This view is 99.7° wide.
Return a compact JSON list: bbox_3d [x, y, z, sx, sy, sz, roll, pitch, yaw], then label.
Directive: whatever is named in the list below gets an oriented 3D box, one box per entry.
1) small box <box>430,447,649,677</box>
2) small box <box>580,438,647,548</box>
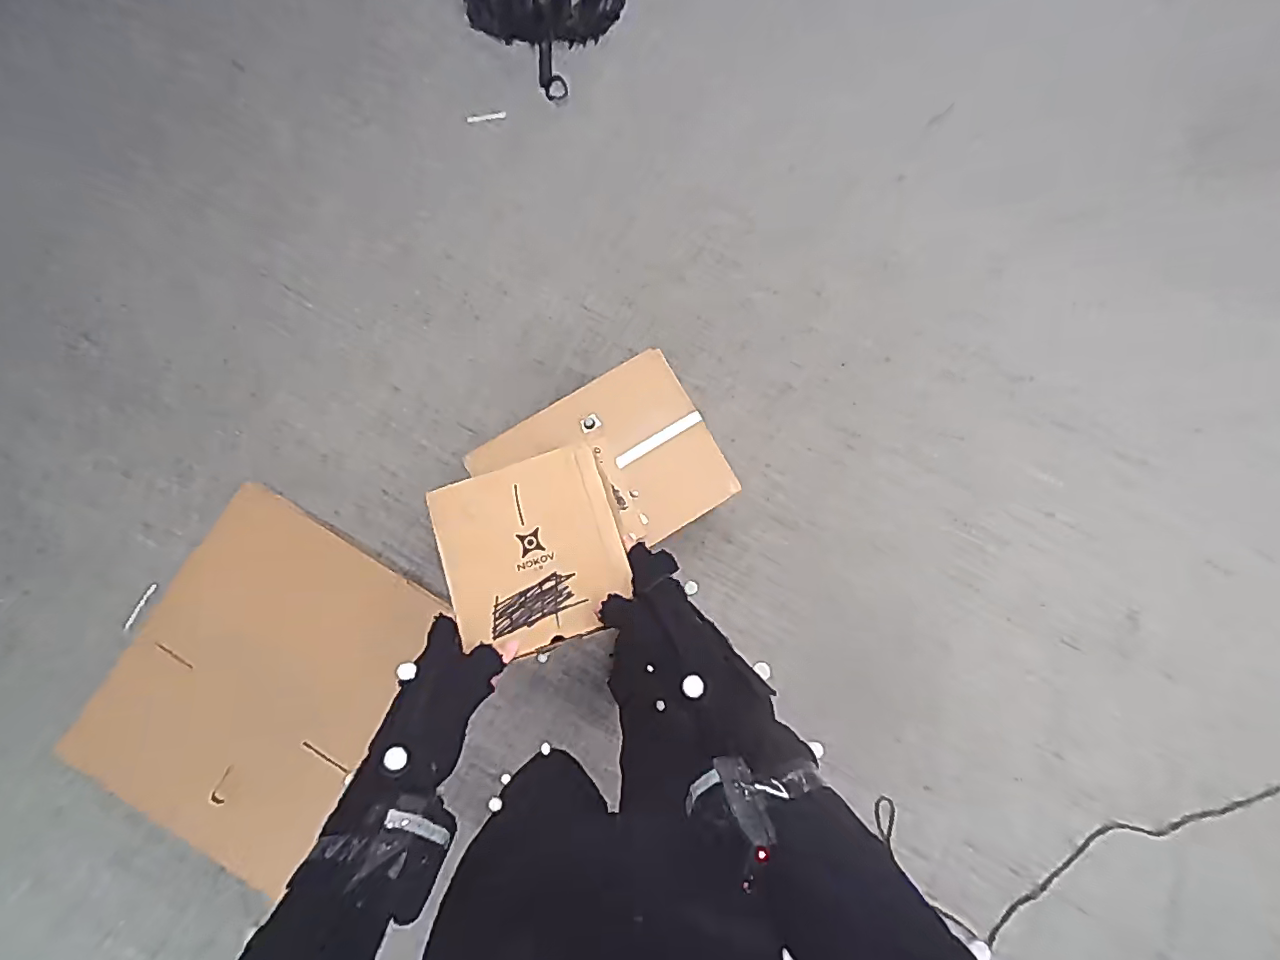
[{"bbox_3d":[-0.095,0.089,0.589,0.168,0.176,0.179,-23,78,-2],"label":"small box"},{"bbox_3d":[-0.098,0.058,0.872,0.179,0.176,0.168,-26,82,-4],"label":"small box"}]
